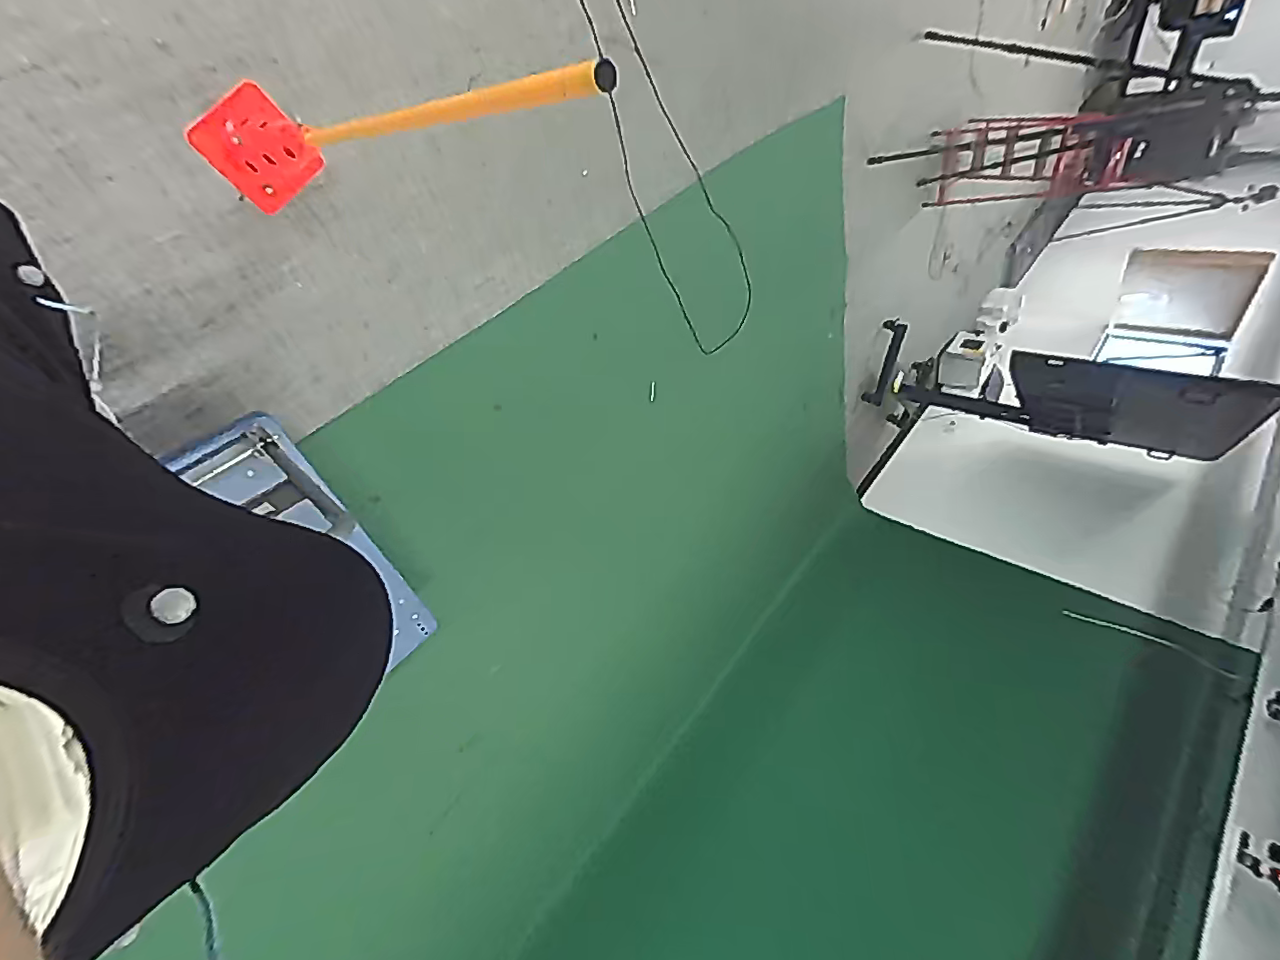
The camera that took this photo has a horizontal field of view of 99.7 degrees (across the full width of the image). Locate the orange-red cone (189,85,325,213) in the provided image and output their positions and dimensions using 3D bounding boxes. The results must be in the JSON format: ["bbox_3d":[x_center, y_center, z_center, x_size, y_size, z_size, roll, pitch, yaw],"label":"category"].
[{"bbox_3d":[-0.734,-0.688,1.113,0.199,0.360,0.198,-55,141,-15],"label":"orange-red cone"}]
